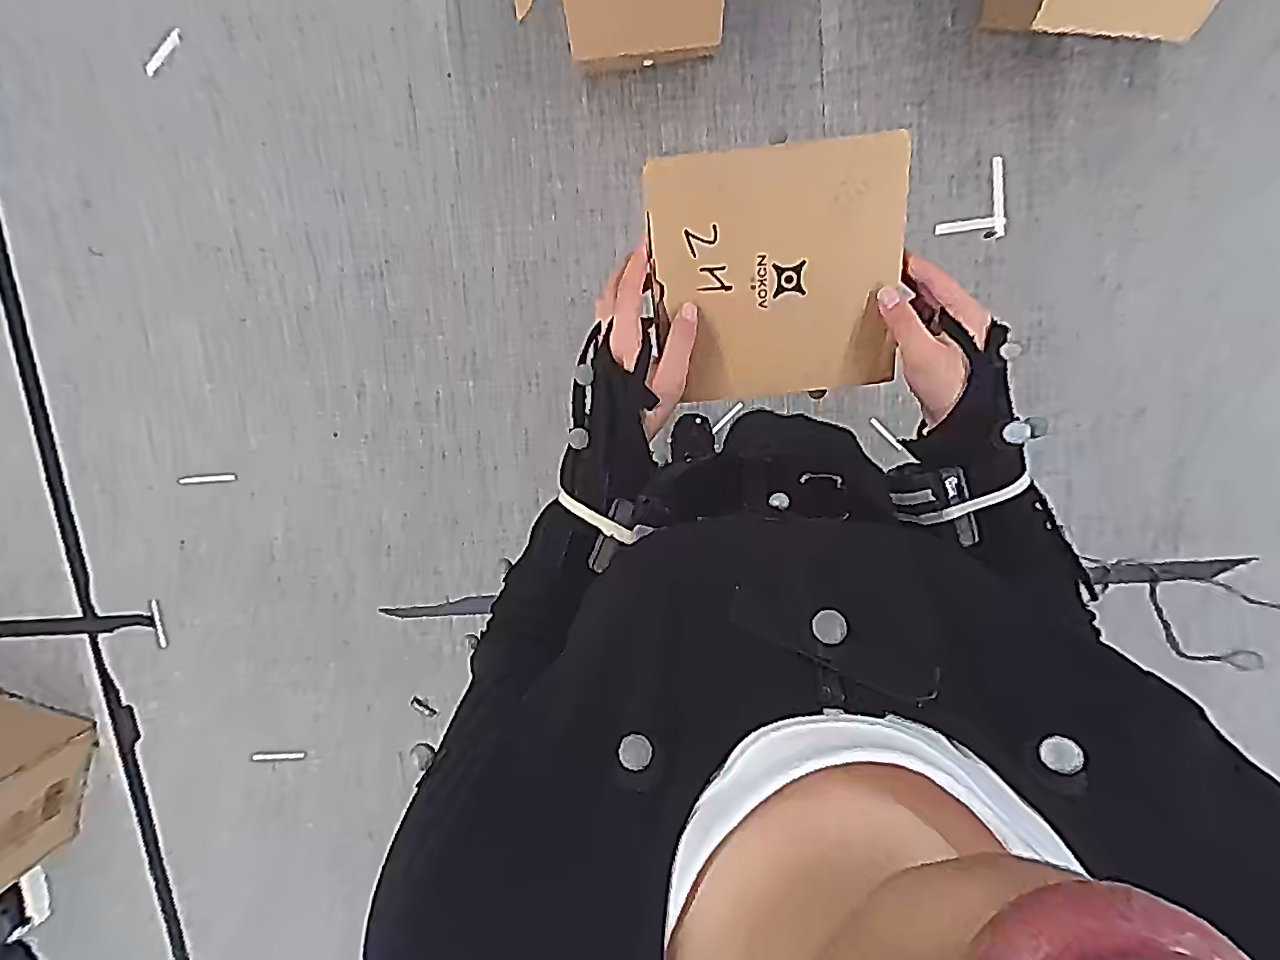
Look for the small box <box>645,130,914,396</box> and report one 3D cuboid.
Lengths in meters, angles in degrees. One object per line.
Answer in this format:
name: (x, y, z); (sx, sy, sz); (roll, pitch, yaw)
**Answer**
small box: (0.098, -0.177, 0.454); (0.179, 0.176, 0.168); (-5, 113, 3)
